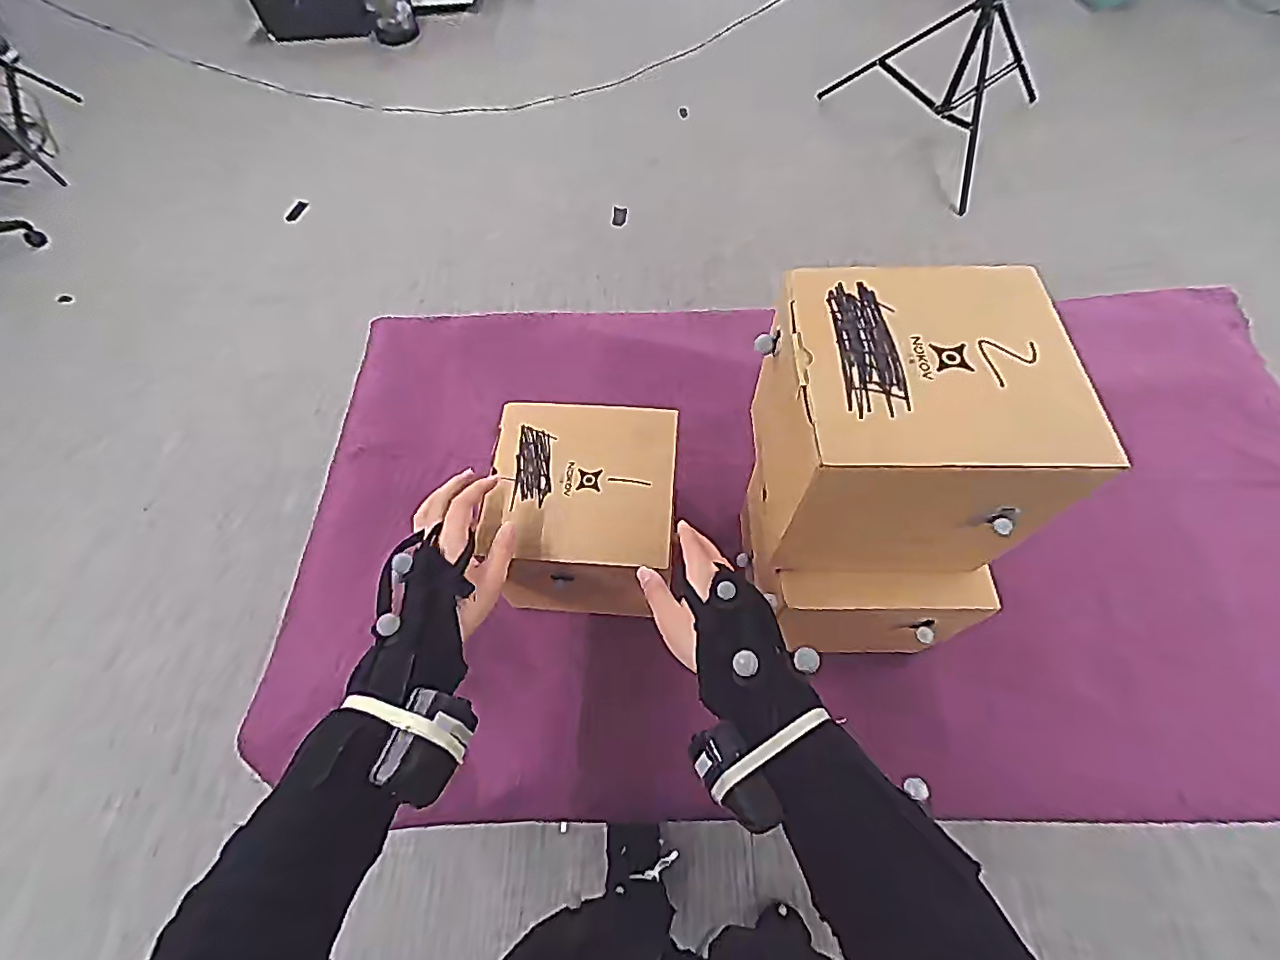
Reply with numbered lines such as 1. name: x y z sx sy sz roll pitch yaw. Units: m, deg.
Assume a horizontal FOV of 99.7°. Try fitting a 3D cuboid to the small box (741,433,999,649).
1. small box: 0.205 0.067 0.542 0.179 0.176 0.168 0 60 2
